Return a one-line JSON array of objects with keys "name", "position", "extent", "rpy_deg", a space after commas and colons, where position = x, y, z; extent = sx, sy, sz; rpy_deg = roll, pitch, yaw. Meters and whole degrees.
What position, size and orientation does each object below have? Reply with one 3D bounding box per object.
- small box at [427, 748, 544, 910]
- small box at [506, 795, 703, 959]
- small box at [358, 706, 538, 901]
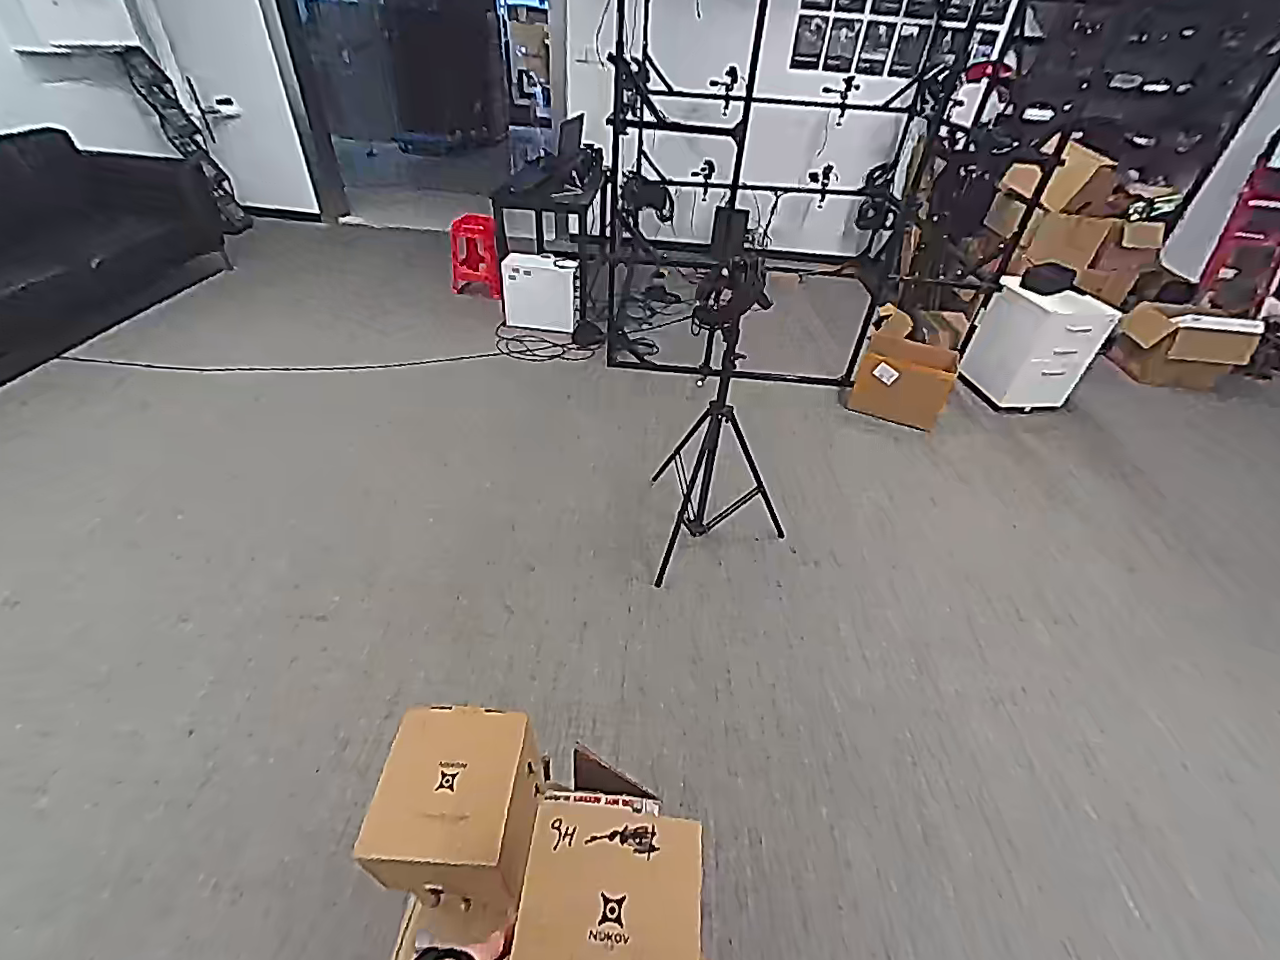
[{"name": "small box", "position": [-0.245, 0.533, 0.837], "extent": [0.168, 0.176, 0.179], "rpy_deg": [3, 42, 1]}, {"name": "small box", "position": [-0.036, 0.433, 0.538], "extent": [0.168, 0.176, 0.179], "rpy_deg": [9, 52, -2]}, {"name": "small box", "position": [-0.234, 0.425, 0.714], "extent": [0.168, 0.176, 0.179], "rpy_deg": [3, 42, 1]}]
